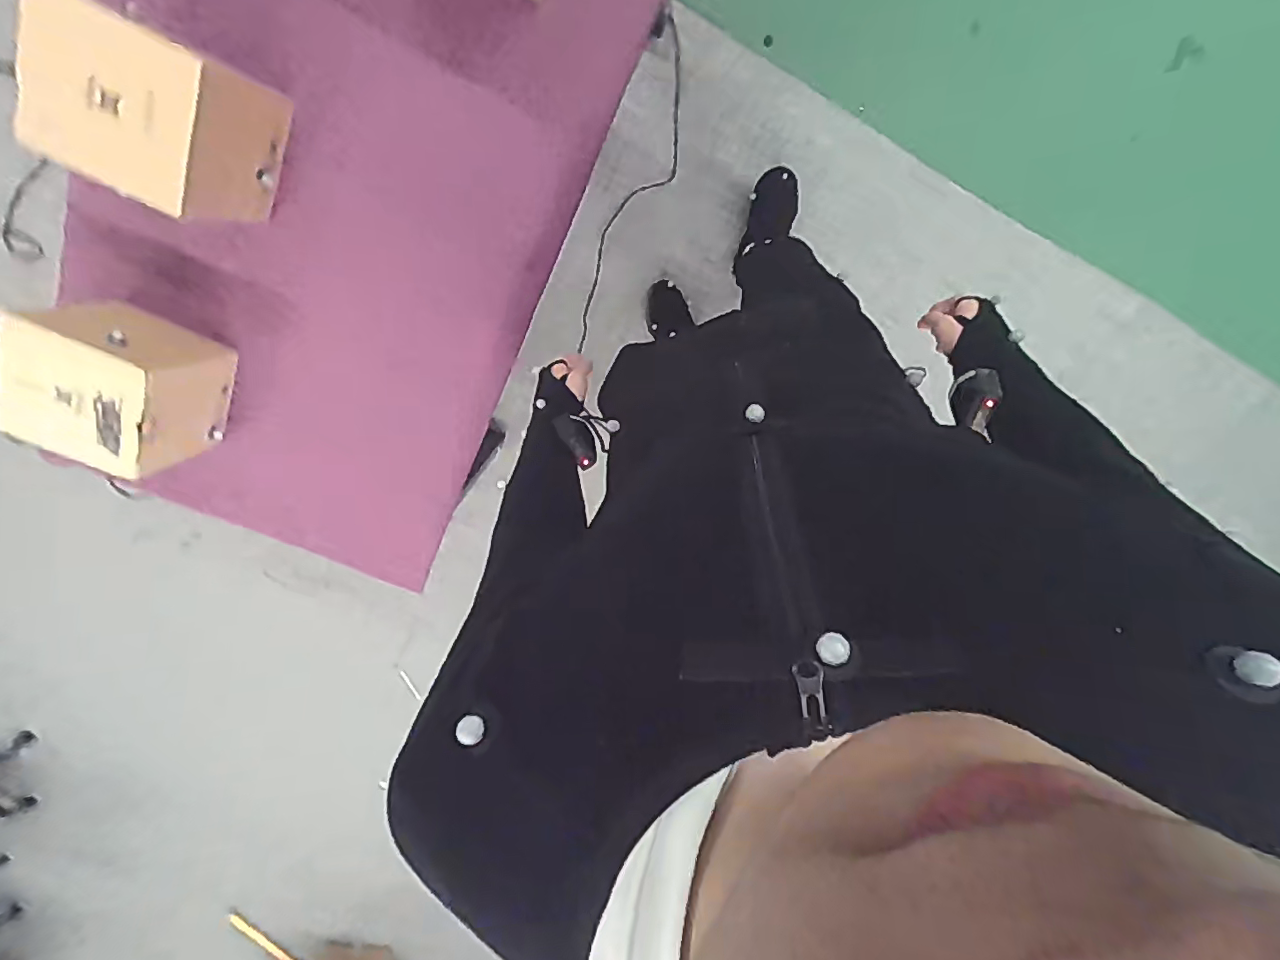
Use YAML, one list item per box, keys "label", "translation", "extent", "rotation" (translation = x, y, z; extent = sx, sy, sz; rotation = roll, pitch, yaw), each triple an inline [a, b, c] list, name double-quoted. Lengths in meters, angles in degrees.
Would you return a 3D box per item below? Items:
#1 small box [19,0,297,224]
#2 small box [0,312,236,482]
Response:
- label: "small box"
  translation: [-0.564, -0.427, 0.651]
  extent: [0.179, 0.176, 0.168]
  rotation: [25, 110, -10]
- label: "small box"
  translation: [-0.723, -0.127, 0.766]
  extent: [0.179, 0.176, 0.168]
  rotation: [24, 109, -8]
